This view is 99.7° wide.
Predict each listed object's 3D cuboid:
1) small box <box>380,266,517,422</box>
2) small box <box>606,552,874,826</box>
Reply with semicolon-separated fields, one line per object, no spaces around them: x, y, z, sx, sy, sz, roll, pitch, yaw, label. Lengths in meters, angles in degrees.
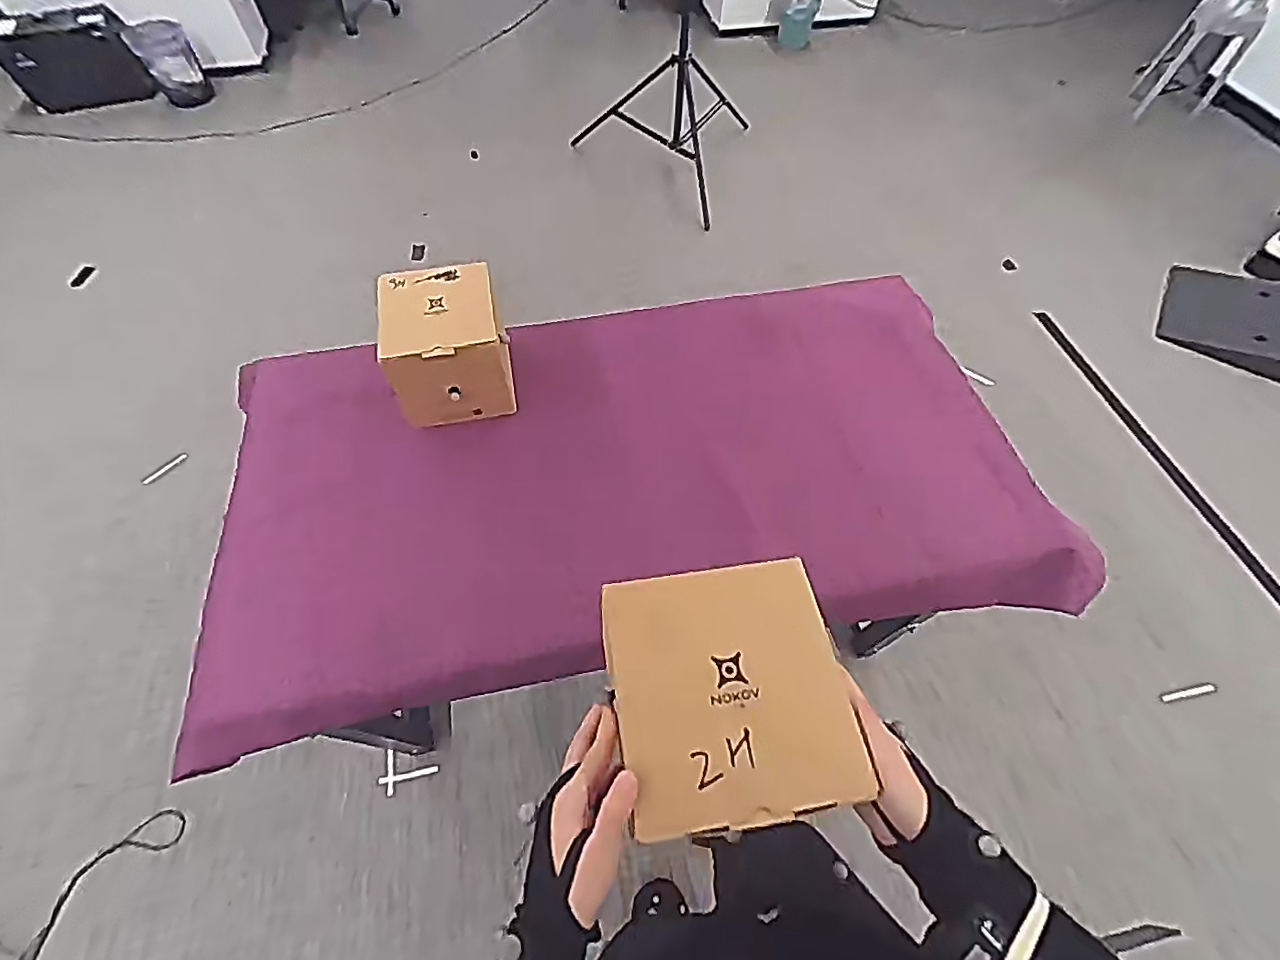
-0.298;-0.209;0.866;0.168;0.176;0.179;-10;62;-7;small box
0.061;0.182;0.462;0.168;0.176;0.179;-7;59;-6;small box
